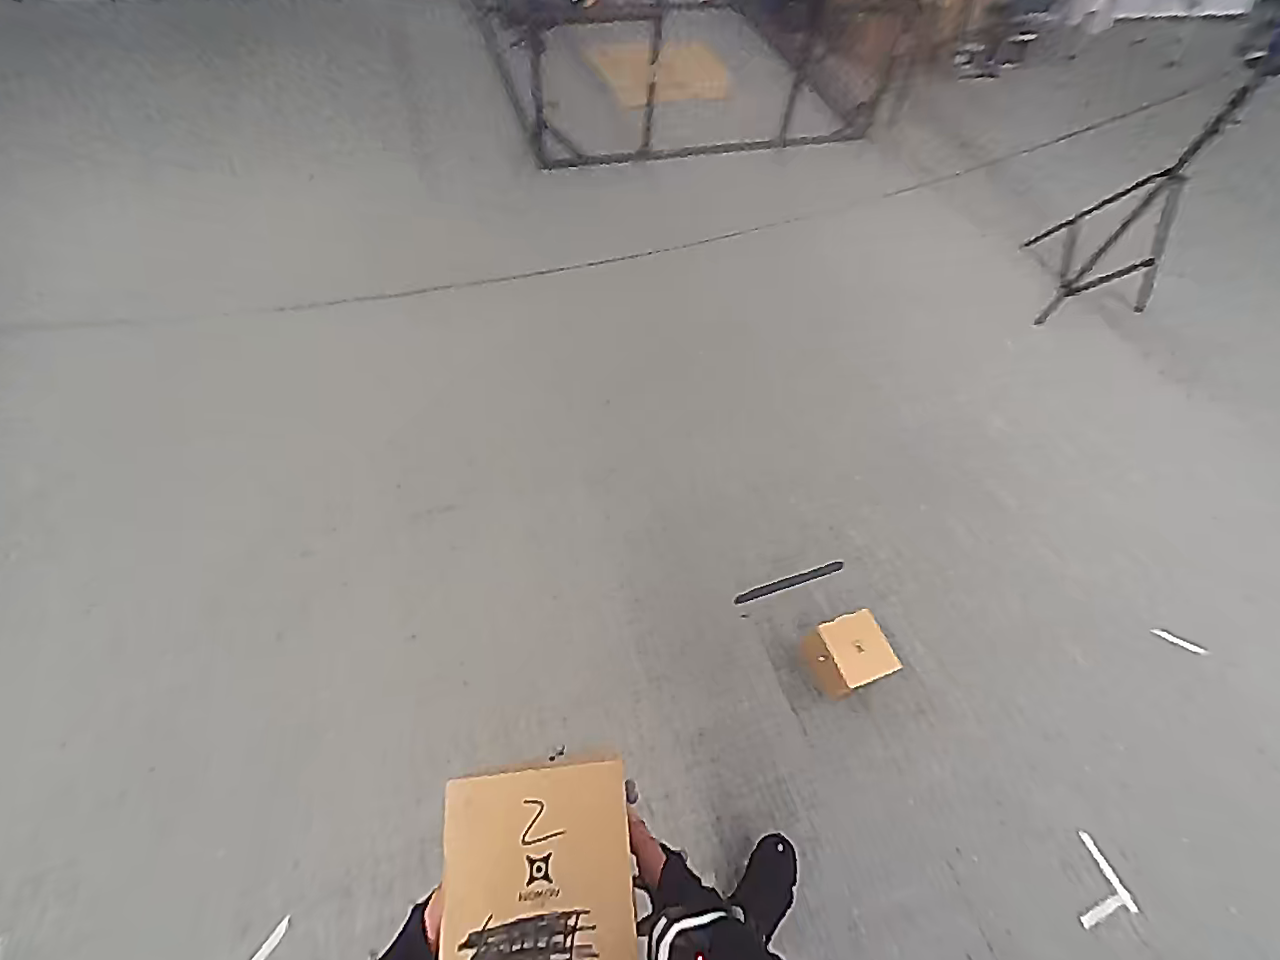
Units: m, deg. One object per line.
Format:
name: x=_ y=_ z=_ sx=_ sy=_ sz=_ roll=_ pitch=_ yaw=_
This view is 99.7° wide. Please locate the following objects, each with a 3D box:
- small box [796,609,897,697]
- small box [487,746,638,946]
small box: x=0.566 y=0.488 z=1.506 sx=0.168 sy=0.176 sz=0.179 roll=-15 pitch=60 yaw=-15
small box: x=-0.098 y=0.447 z=0.692 sx=0.168 sy=0.176 sz=0.179 roll=-5 pitch=66 yaw=-6
